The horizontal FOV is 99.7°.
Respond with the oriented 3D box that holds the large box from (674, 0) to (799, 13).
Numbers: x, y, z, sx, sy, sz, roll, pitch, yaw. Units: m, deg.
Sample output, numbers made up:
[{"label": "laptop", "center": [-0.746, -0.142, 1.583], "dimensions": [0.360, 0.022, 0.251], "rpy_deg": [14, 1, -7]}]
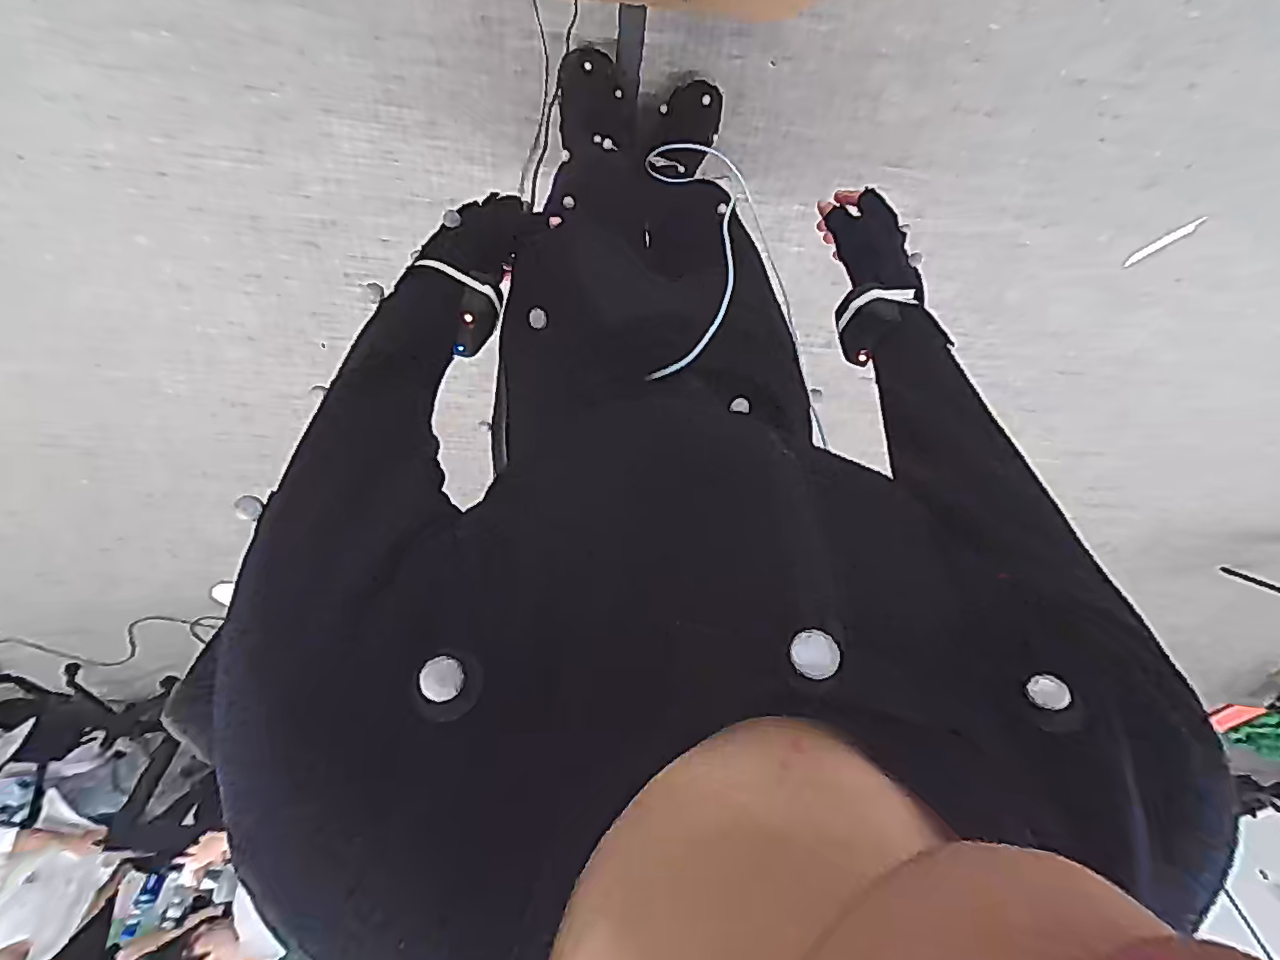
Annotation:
[{"label": "large box", "center": [0.083, -0.869, 0.713], "dimensions": [0.408, 0.320, 0.320], "rpy_deg": [2, 117, -7]}]
